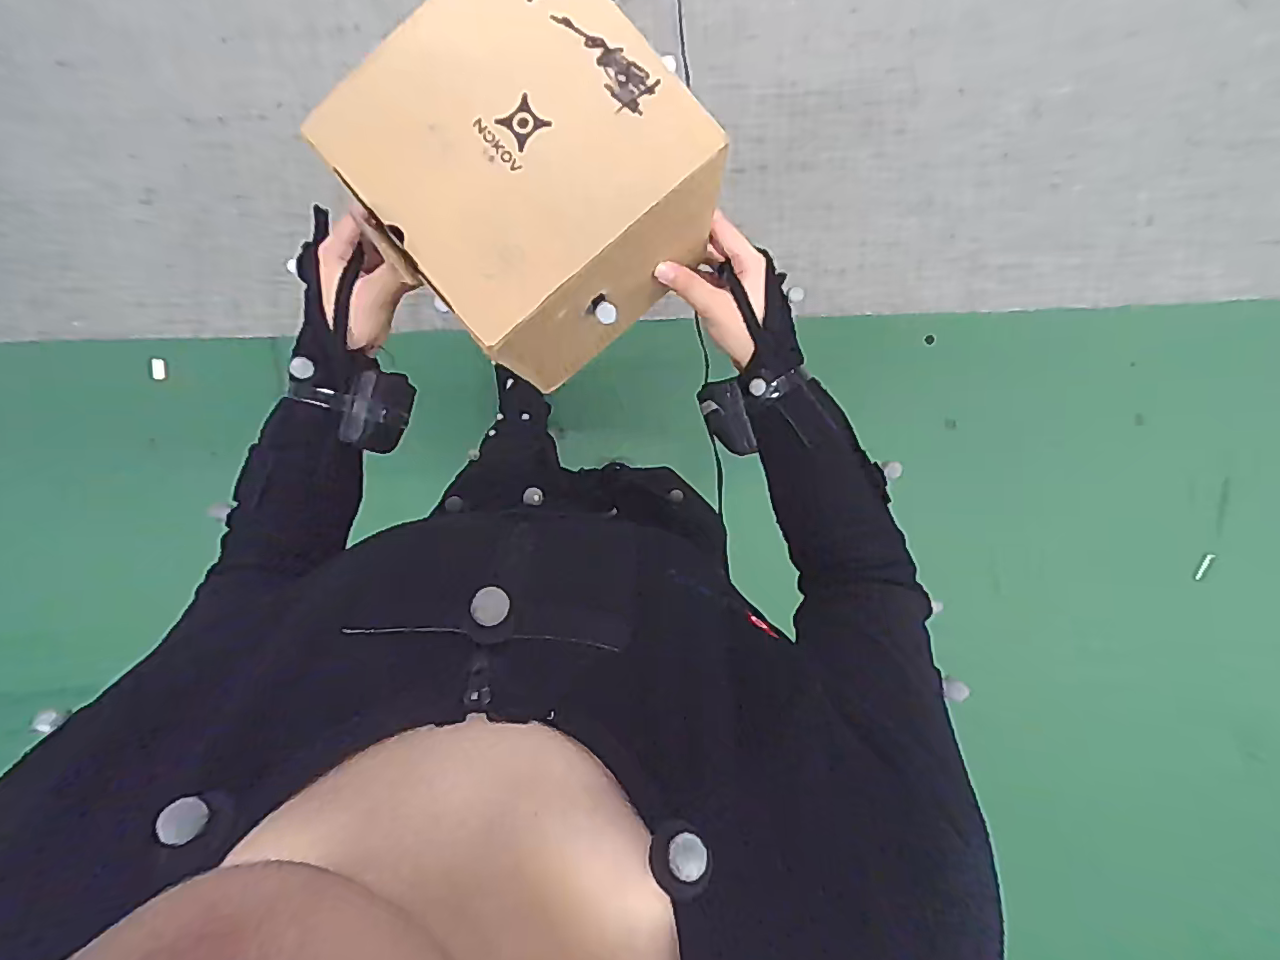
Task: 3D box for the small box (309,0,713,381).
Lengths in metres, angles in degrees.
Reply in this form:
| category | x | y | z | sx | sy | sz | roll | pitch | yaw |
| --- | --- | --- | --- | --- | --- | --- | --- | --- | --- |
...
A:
| category | x | y | z | sx | sy | sz | roll | pitch | yaw |
| --- | --- | --- | --- | --- | --- | --- | --- | --- | --- |
| small box | -0.069 | -0.191 | 0.380 | 0.179 | 0.176 | 0.168 | -40 | 90 | 3 |
